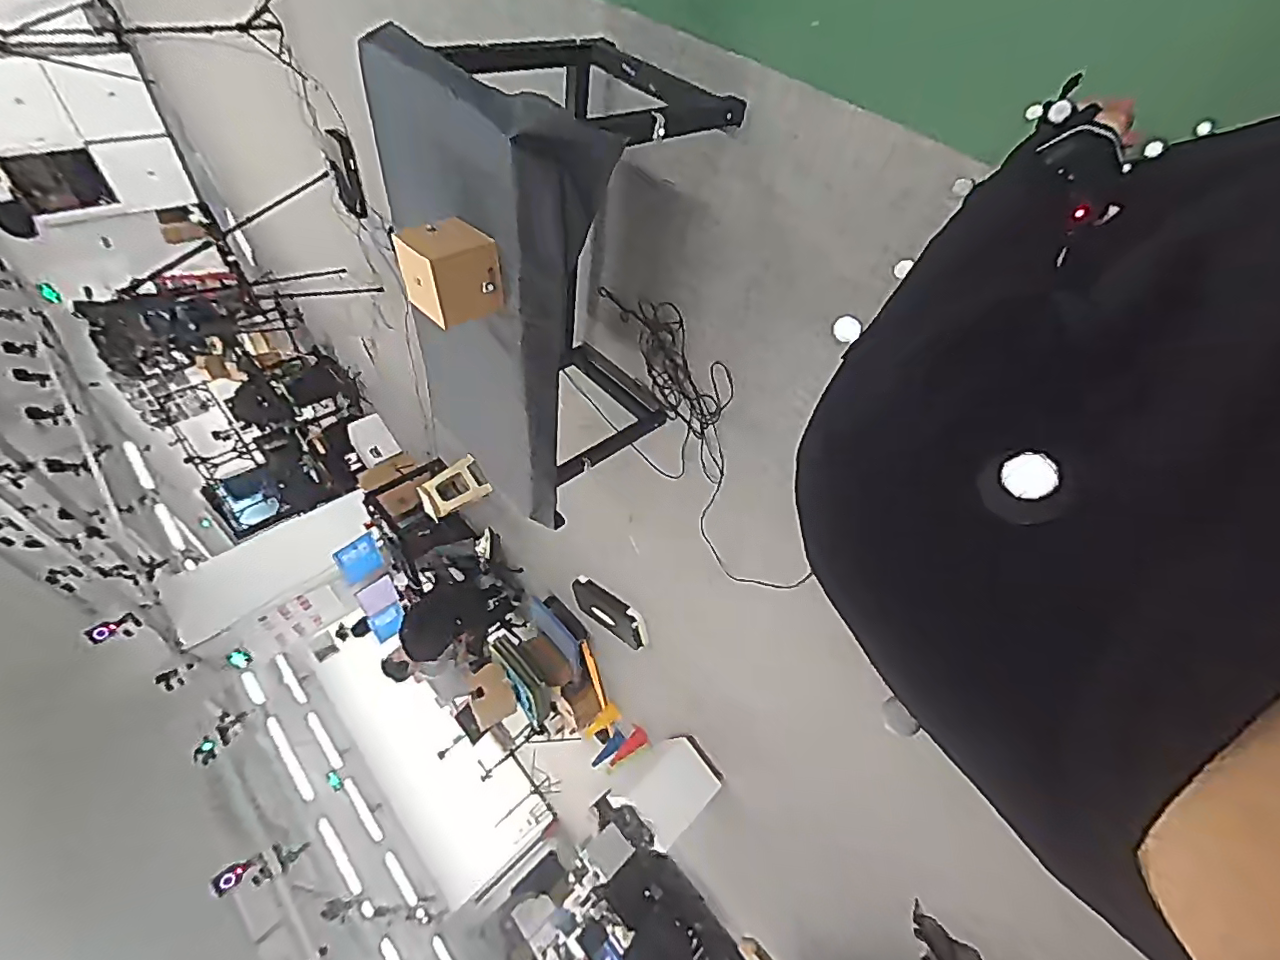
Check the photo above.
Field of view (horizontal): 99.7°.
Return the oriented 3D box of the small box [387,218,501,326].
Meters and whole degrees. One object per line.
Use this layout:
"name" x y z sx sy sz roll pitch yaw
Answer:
"small box" -0.446 -0.487 1.251 0.179 0.176 0.168 37 145 28
